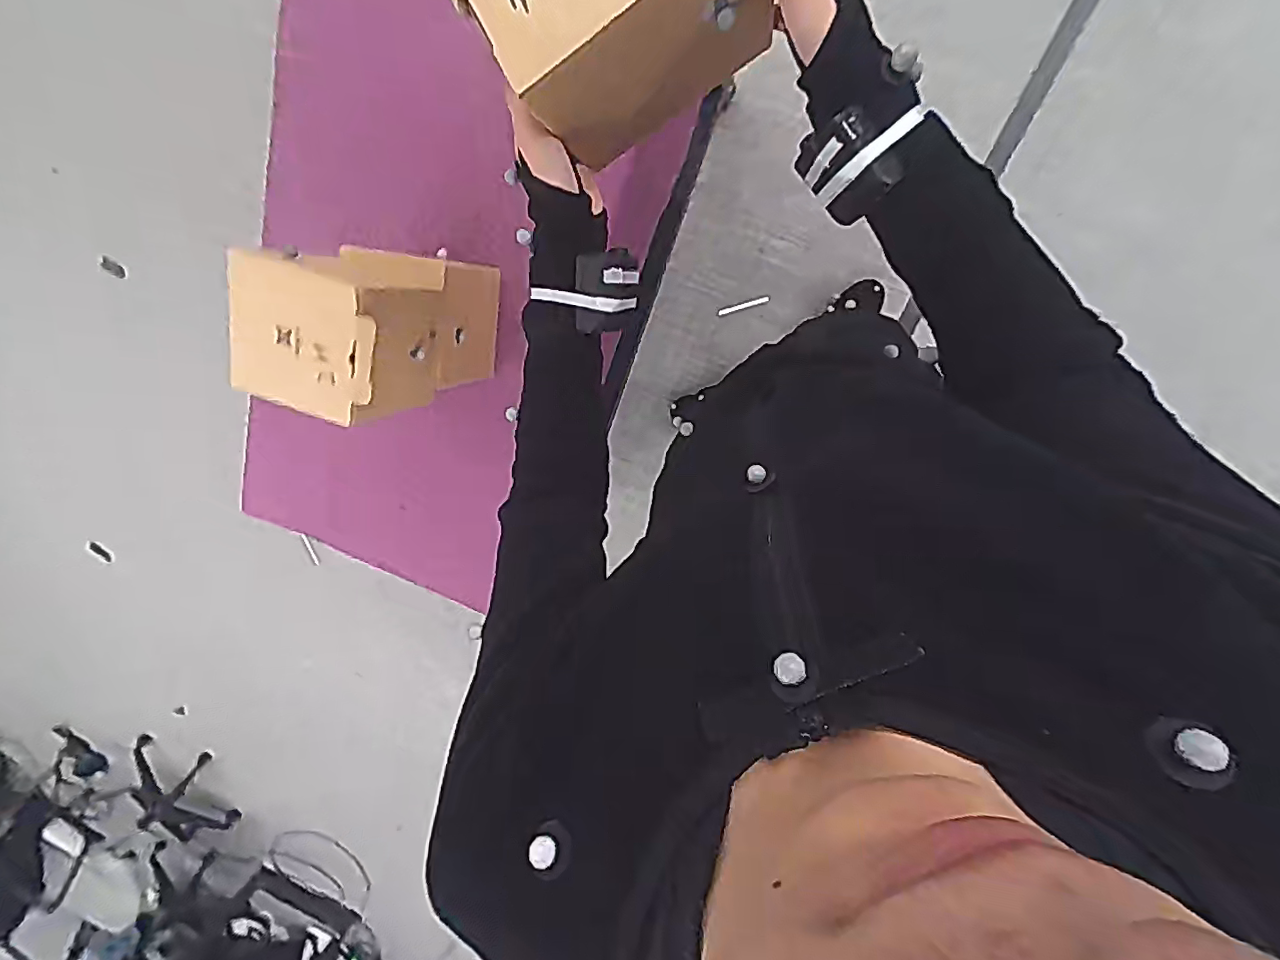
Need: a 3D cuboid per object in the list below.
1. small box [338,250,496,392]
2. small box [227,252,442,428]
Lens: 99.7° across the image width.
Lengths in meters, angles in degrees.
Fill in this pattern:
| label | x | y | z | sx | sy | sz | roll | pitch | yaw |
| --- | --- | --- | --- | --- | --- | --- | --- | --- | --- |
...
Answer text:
| label | x | y | z | sx | sy | sz | roll | pitch | yaw |
| --- | --- | --- | --- | --- | --- | --- | --- | --- | --- |
| small box | -0.341 | -0.249 | 0.849 | 0.168 | 0.176 | 0.179 | 13 | 109 | 9 |
| small box | -0.390 | -0.183 | 0.705 | 0.179 | 0.176 | 0.168 | 18 | 111 | 7 |
